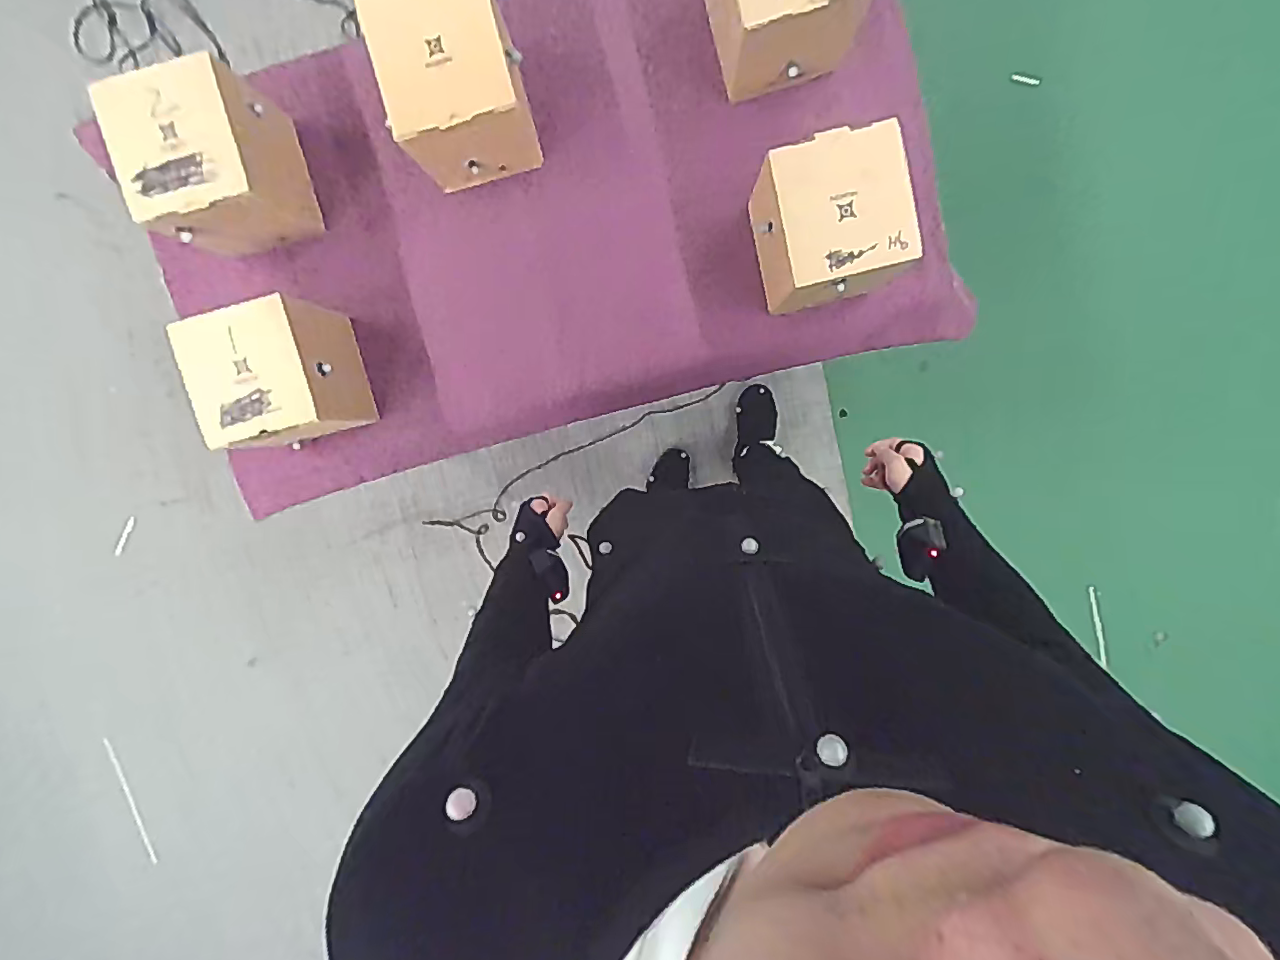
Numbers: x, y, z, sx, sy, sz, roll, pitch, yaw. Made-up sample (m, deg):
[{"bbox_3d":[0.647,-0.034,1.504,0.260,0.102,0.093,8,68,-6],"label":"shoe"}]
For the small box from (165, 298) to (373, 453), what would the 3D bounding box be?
[{"bbox_3d":[-0.528,-0.147,0.799,0.168,0.176,0.179,-14,95,2],"label":"small box"}]

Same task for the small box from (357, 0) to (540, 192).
[{"bbox_3d":[-0.251,-0.540,0.753,0.168,0.176,0.179,-15,97,3],"label":"small box"}]

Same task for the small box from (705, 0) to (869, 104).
[{"bbox_3d":[0.186,-0.659,0.725,0.168,0.176,0.179,-15,96,6],"label":"small box"}]

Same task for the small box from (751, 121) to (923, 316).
[{"bbox_3d":[0.262,-0.351,0.758,0.168,0.176,0.179,-13,94,4],"label":"small box"}]
